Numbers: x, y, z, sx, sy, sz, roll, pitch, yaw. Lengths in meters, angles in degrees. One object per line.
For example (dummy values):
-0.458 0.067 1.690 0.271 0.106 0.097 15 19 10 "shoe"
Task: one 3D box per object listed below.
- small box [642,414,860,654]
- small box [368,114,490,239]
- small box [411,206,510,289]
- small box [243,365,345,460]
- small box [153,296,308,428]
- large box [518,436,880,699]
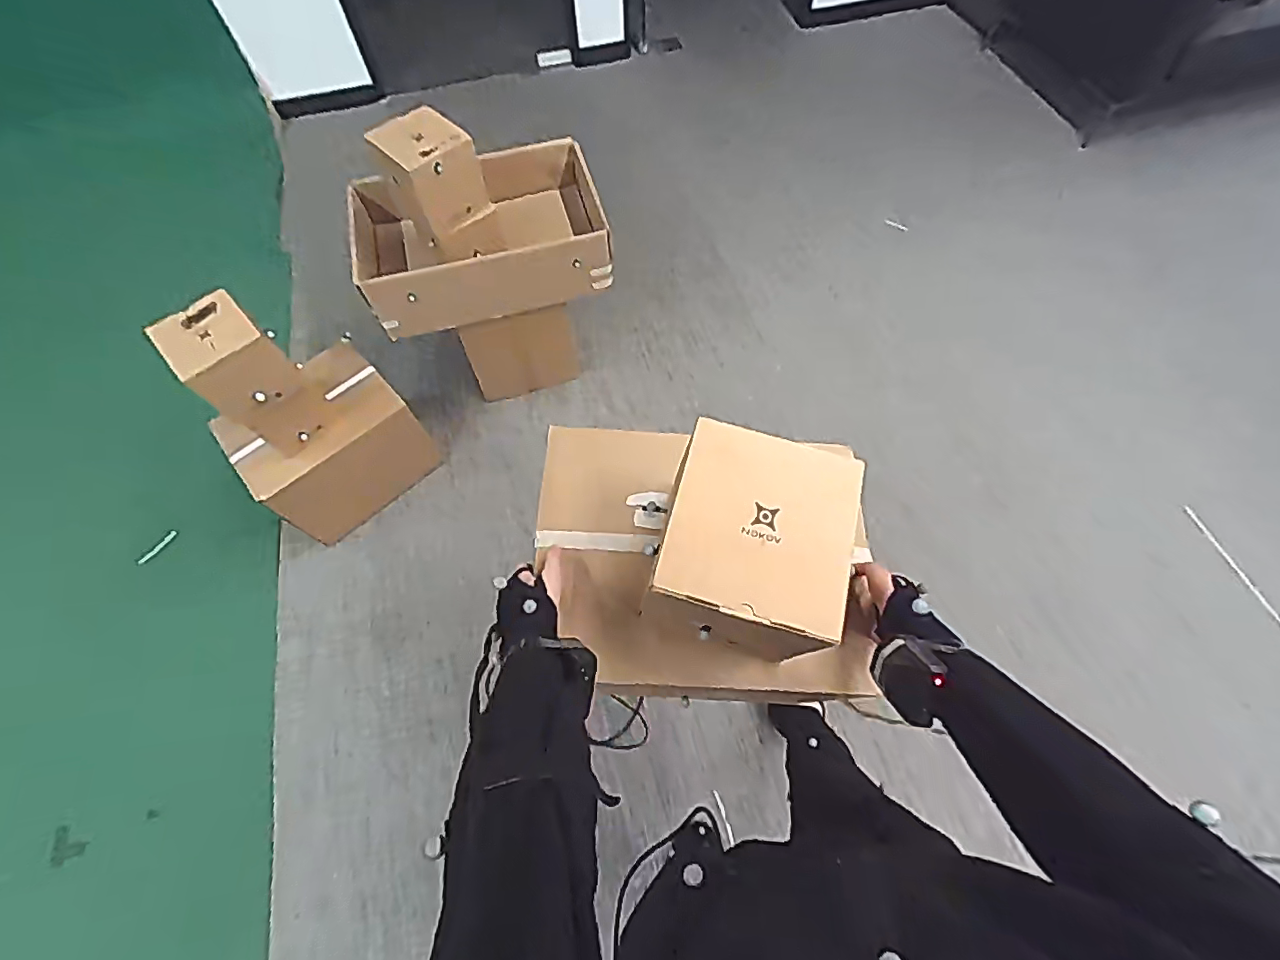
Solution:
0.102 0.065 0.552 0.168 0.176 0.179 16 68 3 "small box"
-0.478 -0.694 1.246 0.179 0.176 0.168 41 71 20 "small box"
-0.459 -0.620 1.392 0.168 0.176 0.179 -36 67 -17 "small box"
-0.858 -0.178 1.294 0.179 0.176 0.168 39 72 19 "small box"
-0.855 -0.244 1.143 0.168 0.176 0.179 -40 70 -16 "small box"
0.065 0.147 0.782 0.408 0.320 0.320 2 65 -1 "large box"
